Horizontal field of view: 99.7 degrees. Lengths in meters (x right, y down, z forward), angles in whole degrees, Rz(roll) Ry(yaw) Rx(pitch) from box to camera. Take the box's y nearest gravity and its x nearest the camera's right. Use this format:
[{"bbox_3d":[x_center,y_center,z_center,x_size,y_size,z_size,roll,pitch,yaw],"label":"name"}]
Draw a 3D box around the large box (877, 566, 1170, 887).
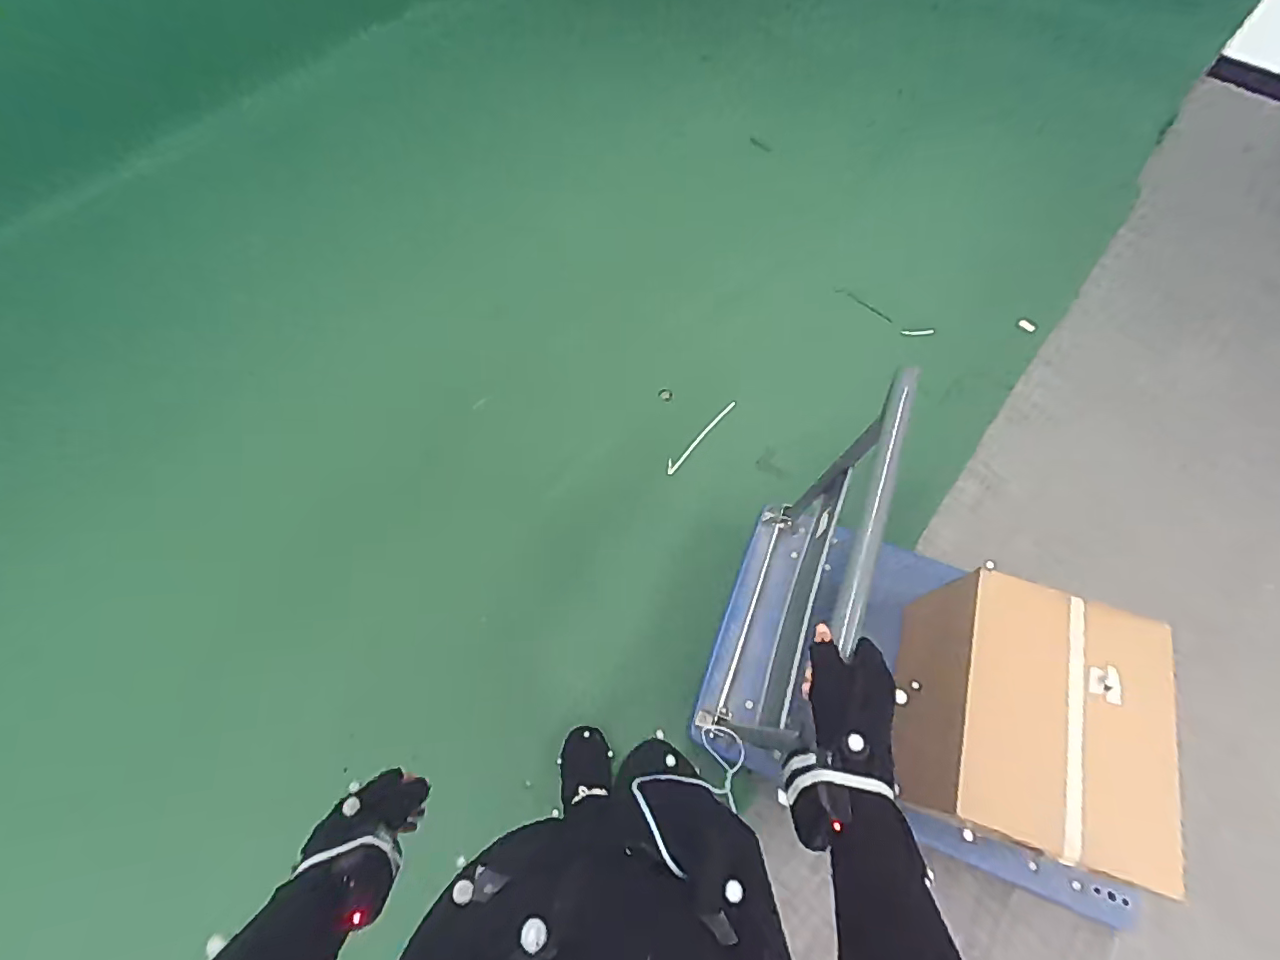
[{"bbox_3d":[0.673,0.433,1.001,0.320,0.320,0.408,19,66,8],"label":"large box"}]
